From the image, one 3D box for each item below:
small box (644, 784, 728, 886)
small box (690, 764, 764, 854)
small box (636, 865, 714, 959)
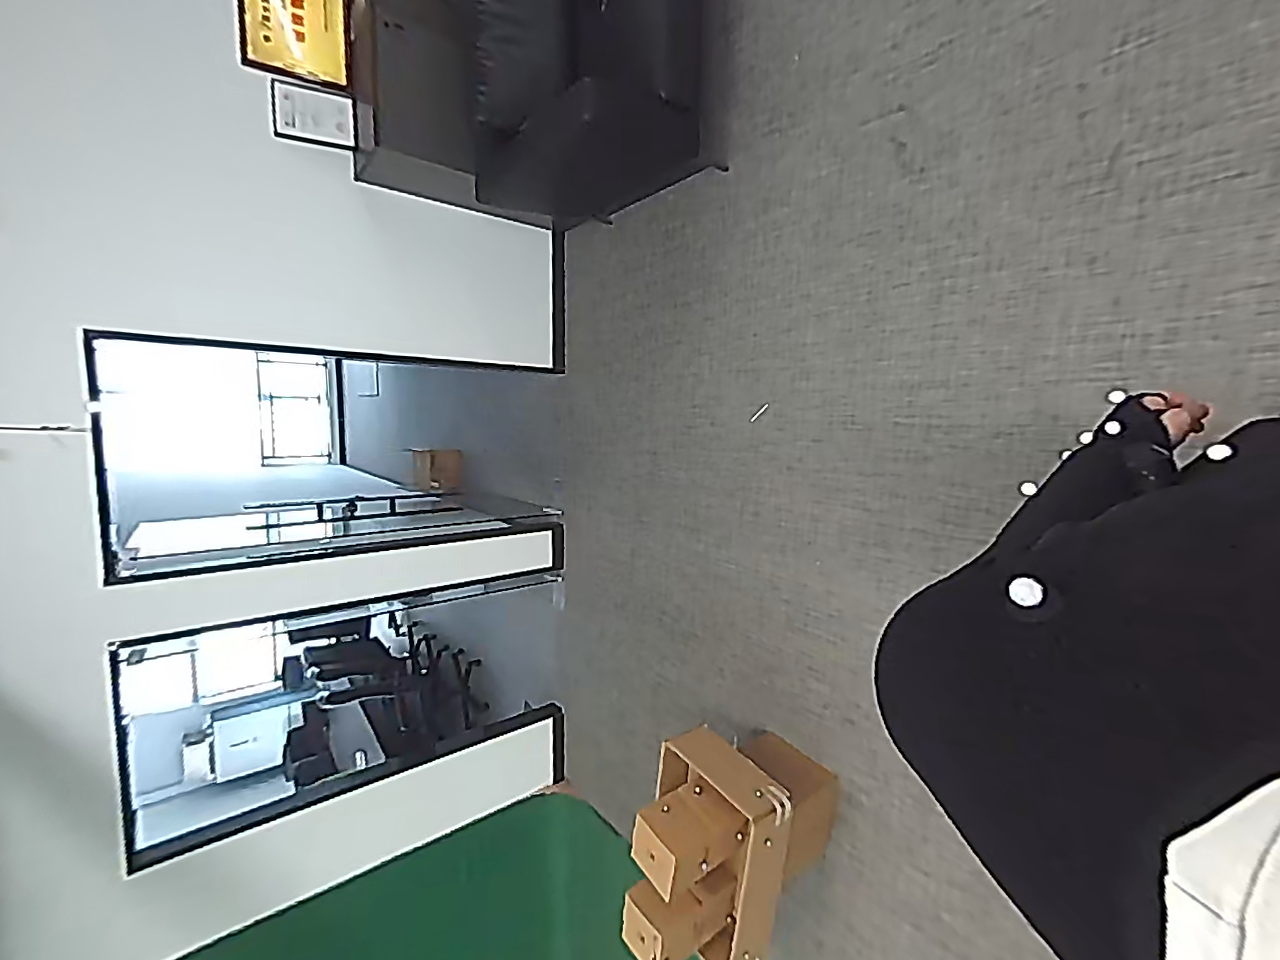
[{"bbox_3d":[0.139,1.061,1.637,0.179,0.176,0.168,25,114,49],"label":"small box"},{"bbox_3d":[0.267,1.046,1.735,0.179,0.176,0.168,27,115,49],"label":"small box"},{"bbox_3d":[0.109,1.343,1.702,0.179,0.176,0.168,16,107,51],"label":"small box"}]
